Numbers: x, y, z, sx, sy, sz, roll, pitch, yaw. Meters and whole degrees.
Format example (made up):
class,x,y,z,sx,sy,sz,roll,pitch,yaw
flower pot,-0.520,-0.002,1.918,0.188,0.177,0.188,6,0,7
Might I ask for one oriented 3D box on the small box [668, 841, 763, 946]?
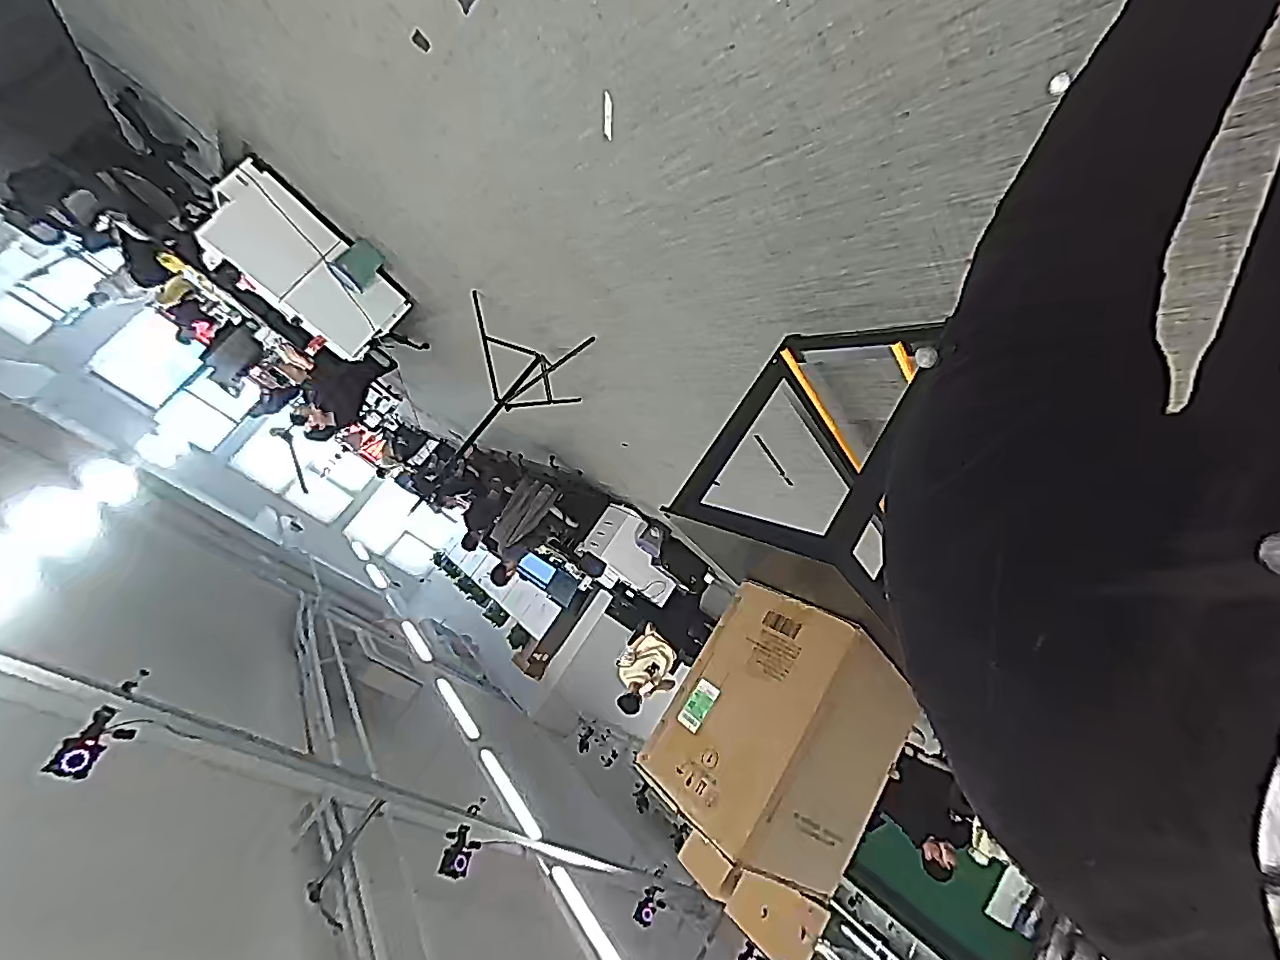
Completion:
class,x,y,z,sx,sy,sz,roll,pitch,yaw
small box,0.222,1.186,1.552,0.179,0.176,0.168,46,163,-33

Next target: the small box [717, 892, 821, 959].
class,x,y,z,sx,sy,sz,roll,pitch,yaw
small box,0.337,1.211,1.382,0.168,0.176,0.179,46,158,-27
